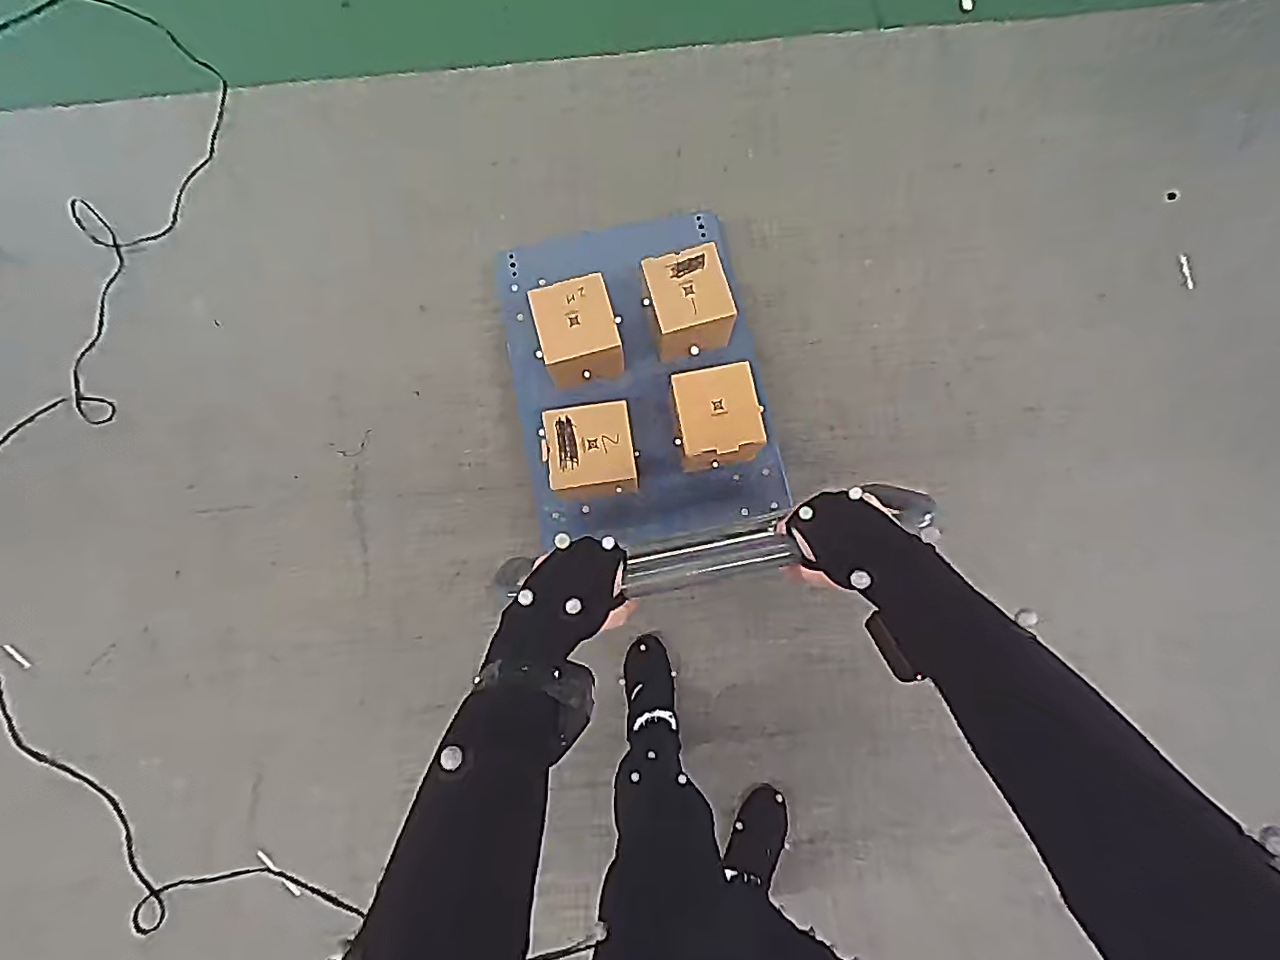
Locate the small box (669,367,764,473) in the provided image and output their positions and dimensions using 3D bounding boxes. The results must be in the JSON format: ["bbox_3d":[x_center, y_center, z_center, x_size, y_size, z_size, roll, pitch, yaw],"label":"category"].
[{"bbox_3d":[0.161,-0.126,1.196,0.168,0.176,0.179,-11,80,-1],"label":"small box"}]

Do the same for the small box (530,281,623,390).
[{"bbox_3d":[-0.137,-0.319,1.238,0.168,0.176,0.179,-15,79,-2],"label":"small box"}]

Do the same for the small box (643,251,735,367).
[{"bbox_3d":[0.105,-0.387,1.244,0.168,0.176,0.179,-15,80,0],"label":"small box"}]
